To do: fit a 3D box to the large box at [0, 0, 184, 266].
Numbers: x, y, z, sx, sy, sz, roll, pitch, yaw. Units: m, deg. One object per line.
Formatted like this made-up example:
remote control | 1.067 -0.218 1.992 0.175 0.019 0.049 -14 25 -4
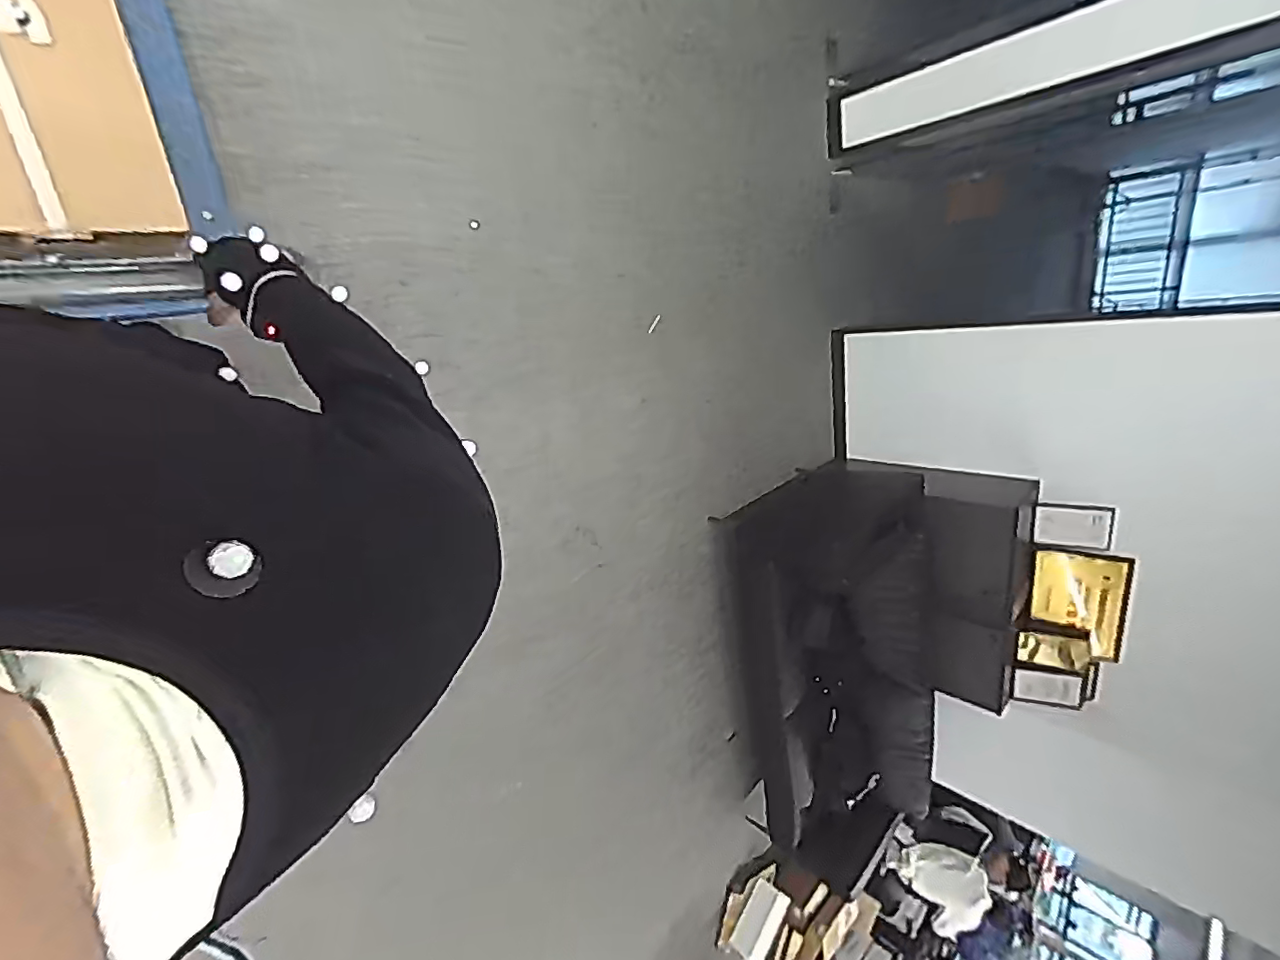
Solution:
large box | -0.984 -0.571 0.841 0.320 0.320 0.408 -22 113 -40
